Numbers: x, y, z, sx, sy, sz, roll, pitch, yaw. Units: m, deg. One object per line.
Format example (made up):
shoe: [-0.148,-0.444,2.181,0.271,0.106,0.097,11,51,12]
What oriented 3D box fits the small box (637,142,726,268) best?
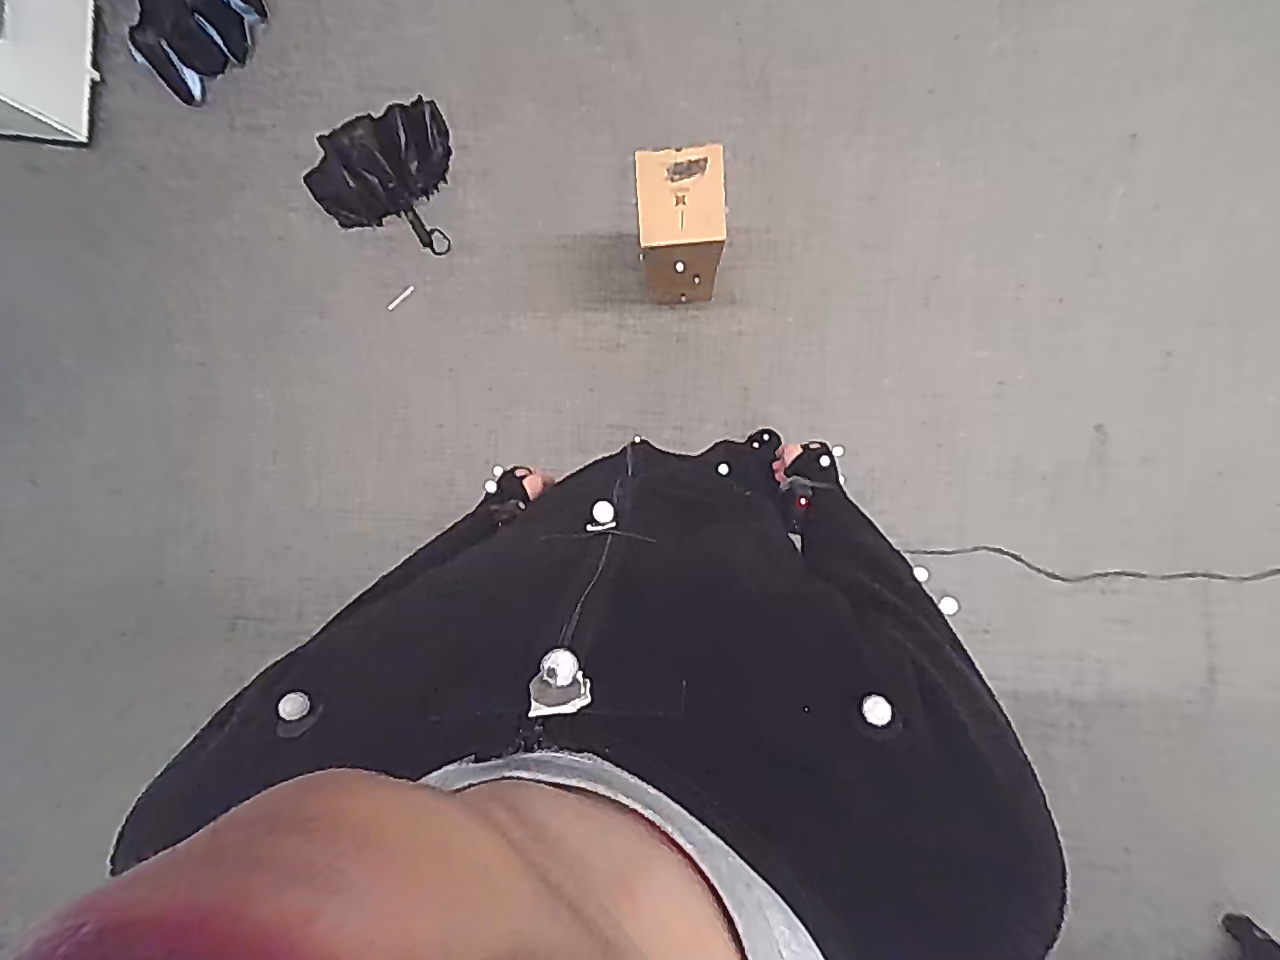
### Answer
small box: [0.082,-0.550,1.100,0.168,0.176,0.179,-3,96,4]

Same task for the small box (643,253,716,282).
small box: [0.095,-0.571,1.263,0.168,0.176,0.179,0,94,3]
